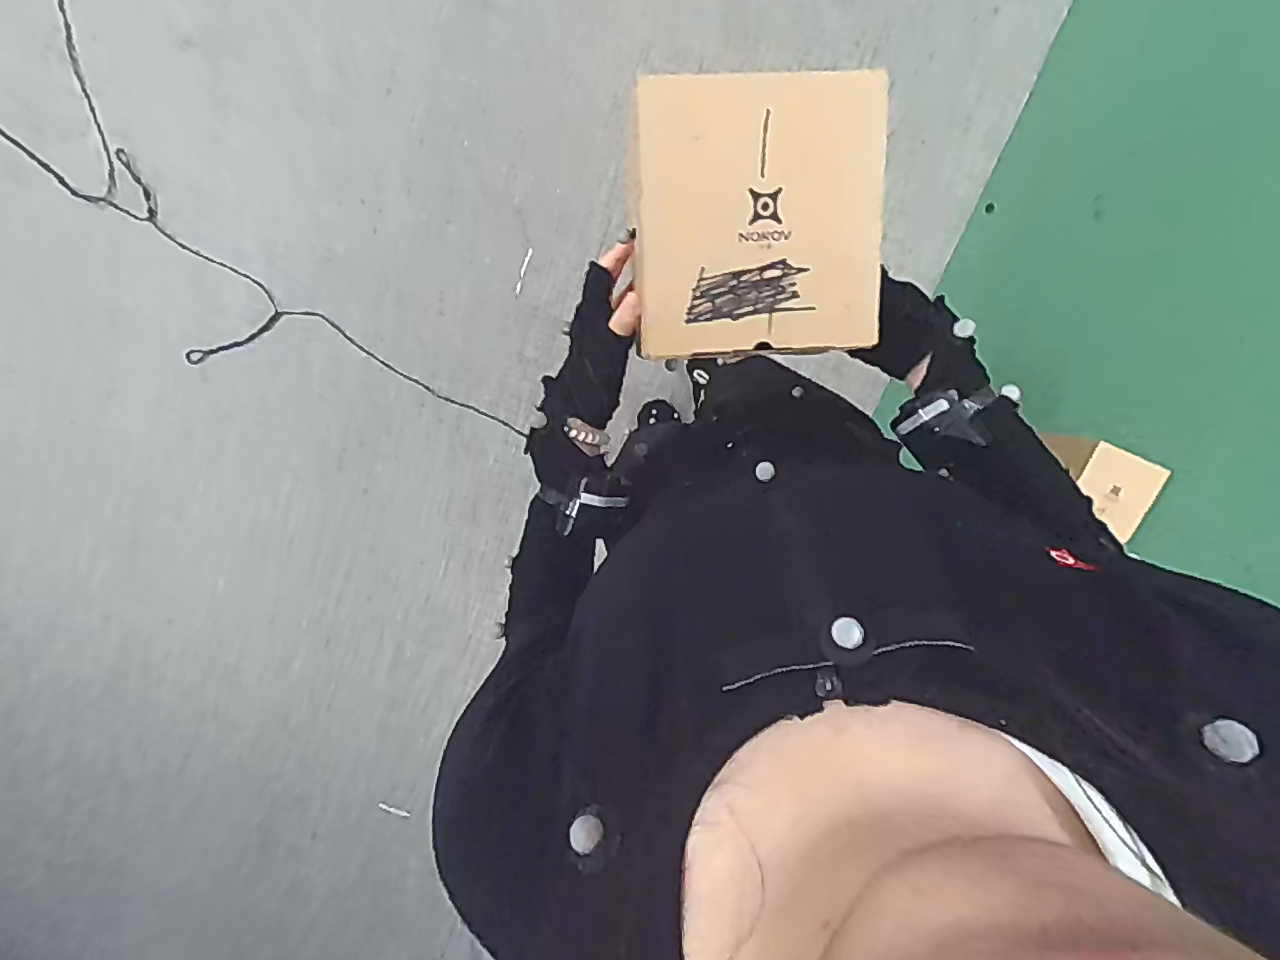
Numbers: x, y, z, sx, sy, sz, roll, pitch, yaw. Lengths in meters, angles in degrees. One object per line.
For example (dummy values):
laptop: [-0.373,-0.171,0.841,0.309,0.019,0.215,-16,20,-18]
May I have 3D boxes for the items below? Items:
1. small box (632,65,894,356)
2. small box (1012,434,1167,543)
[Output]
small box: [0.082,-0.197,0.442,0.168,0.176,0.179,-4,103,-3]
small box: [0.983,0.010,1.203,0.168,0.176,0.179,23,102,-2]
